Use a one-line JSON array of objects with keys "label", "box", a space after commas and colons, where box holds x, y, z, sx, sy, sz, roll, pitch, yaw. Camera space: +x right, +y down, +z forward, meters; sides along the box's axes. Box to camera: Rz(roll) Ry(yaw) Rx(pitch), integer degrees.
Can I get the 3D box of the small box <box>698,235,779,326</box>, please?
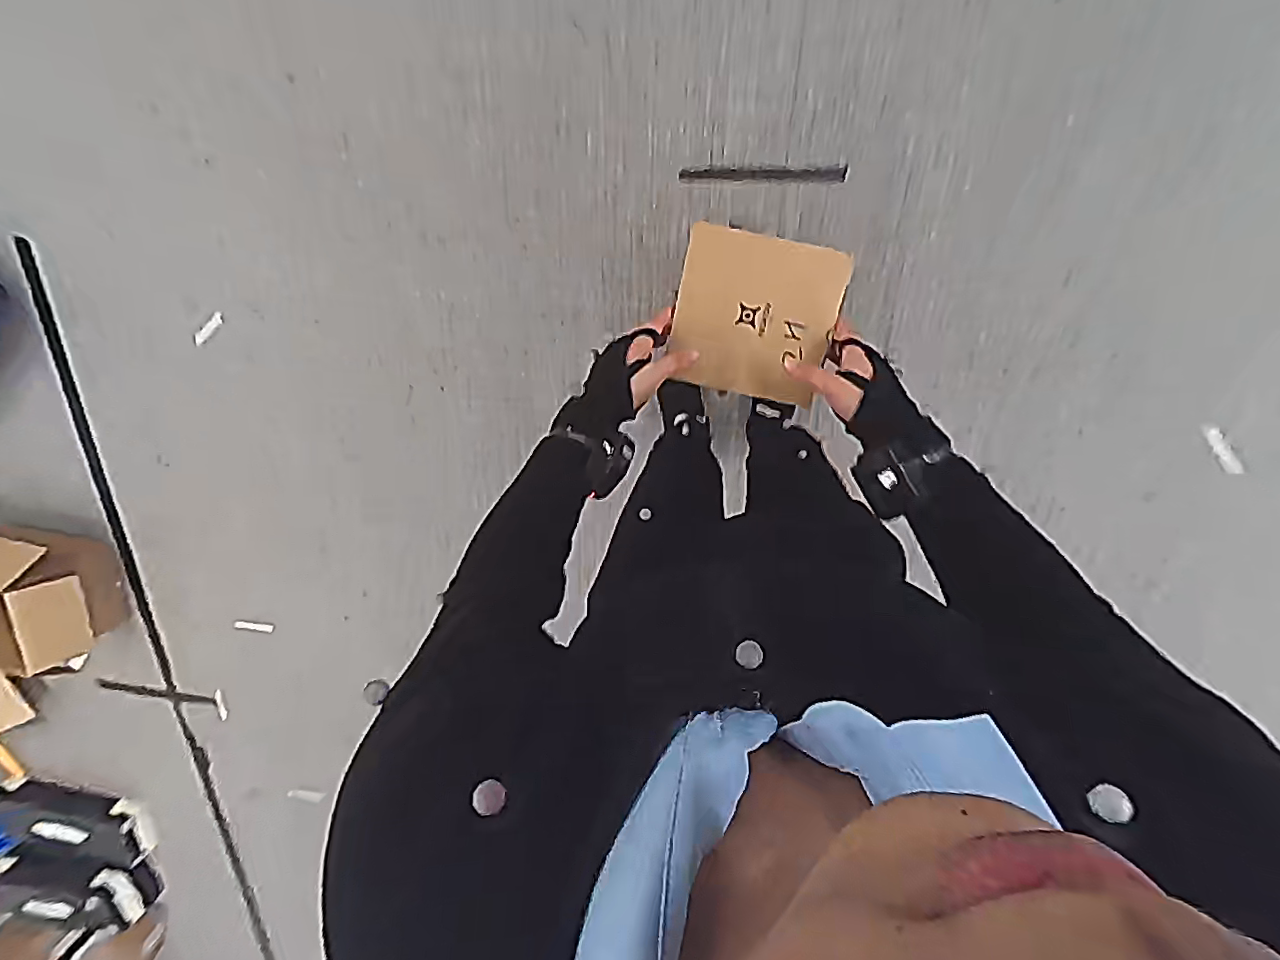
[{"label": "small box", "box": [0.214, -0.442, 1.207, 0.168, 0.176, 0.179, 0, 111, 9]}]
